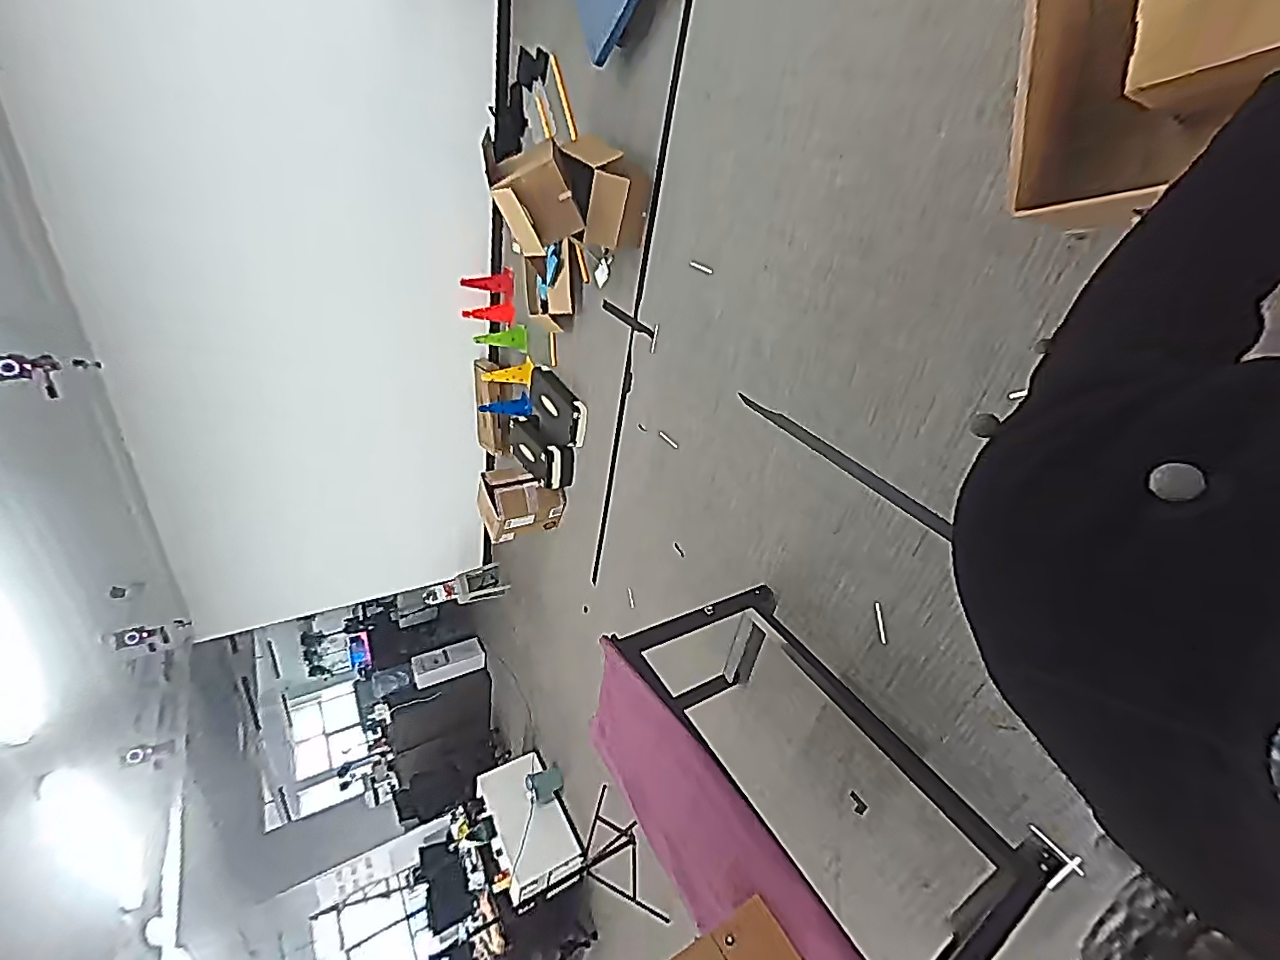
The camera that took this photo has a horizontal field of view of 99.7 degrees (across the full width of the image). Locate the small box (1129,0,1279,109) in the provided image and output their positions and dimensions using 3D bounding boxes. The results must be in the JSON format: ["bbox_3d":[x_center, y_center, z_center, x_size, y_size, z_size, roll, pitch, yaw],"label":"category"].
[{"bbox_3d":[0.579,-0.452,0.467,0.179,0.176,0.168,20,117,54],"label":"small box"}]

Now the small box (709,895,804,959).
[{"bbox_3d":[0.277,1.172,1.315,0.179,0.176,0.168,42,133,45],"label":"small box"}]

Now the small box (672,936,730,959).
[{"bbox_3d":[0.139,1.194,1.228,0.179,0.176,0.168,41,133,45],"label":"small box"}]
